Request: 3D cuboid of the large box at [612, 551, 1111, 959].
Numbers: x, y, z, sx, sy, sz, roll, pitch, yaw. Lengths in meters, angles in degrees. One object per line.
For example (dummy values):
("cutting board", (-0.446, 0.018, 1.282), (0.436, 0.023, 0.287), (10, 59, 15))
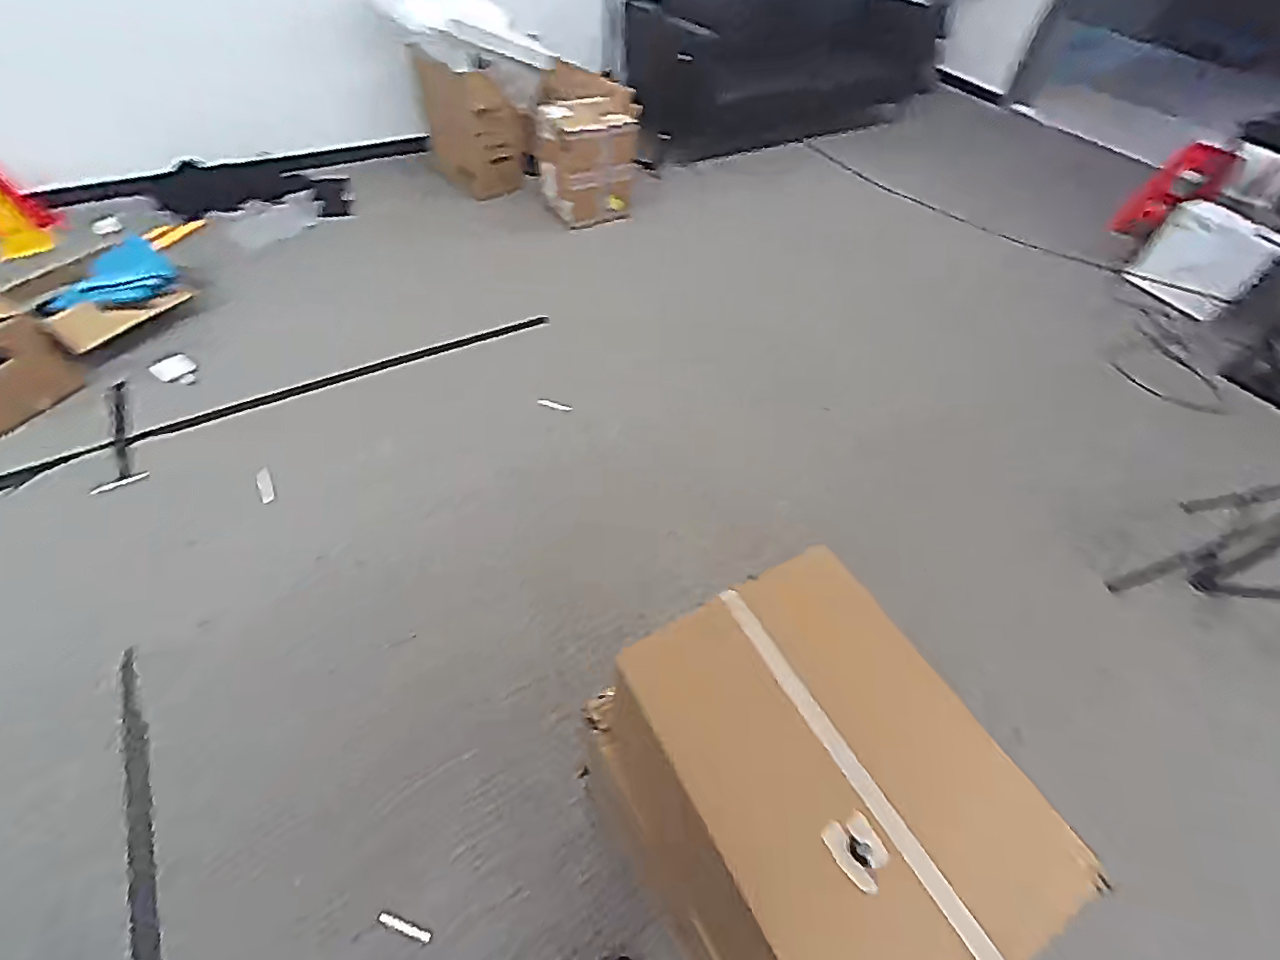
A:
("large box", (0.197, 0.370, 0.660), (0.320, 0.320, 0.408), (-23, 58, -20))
